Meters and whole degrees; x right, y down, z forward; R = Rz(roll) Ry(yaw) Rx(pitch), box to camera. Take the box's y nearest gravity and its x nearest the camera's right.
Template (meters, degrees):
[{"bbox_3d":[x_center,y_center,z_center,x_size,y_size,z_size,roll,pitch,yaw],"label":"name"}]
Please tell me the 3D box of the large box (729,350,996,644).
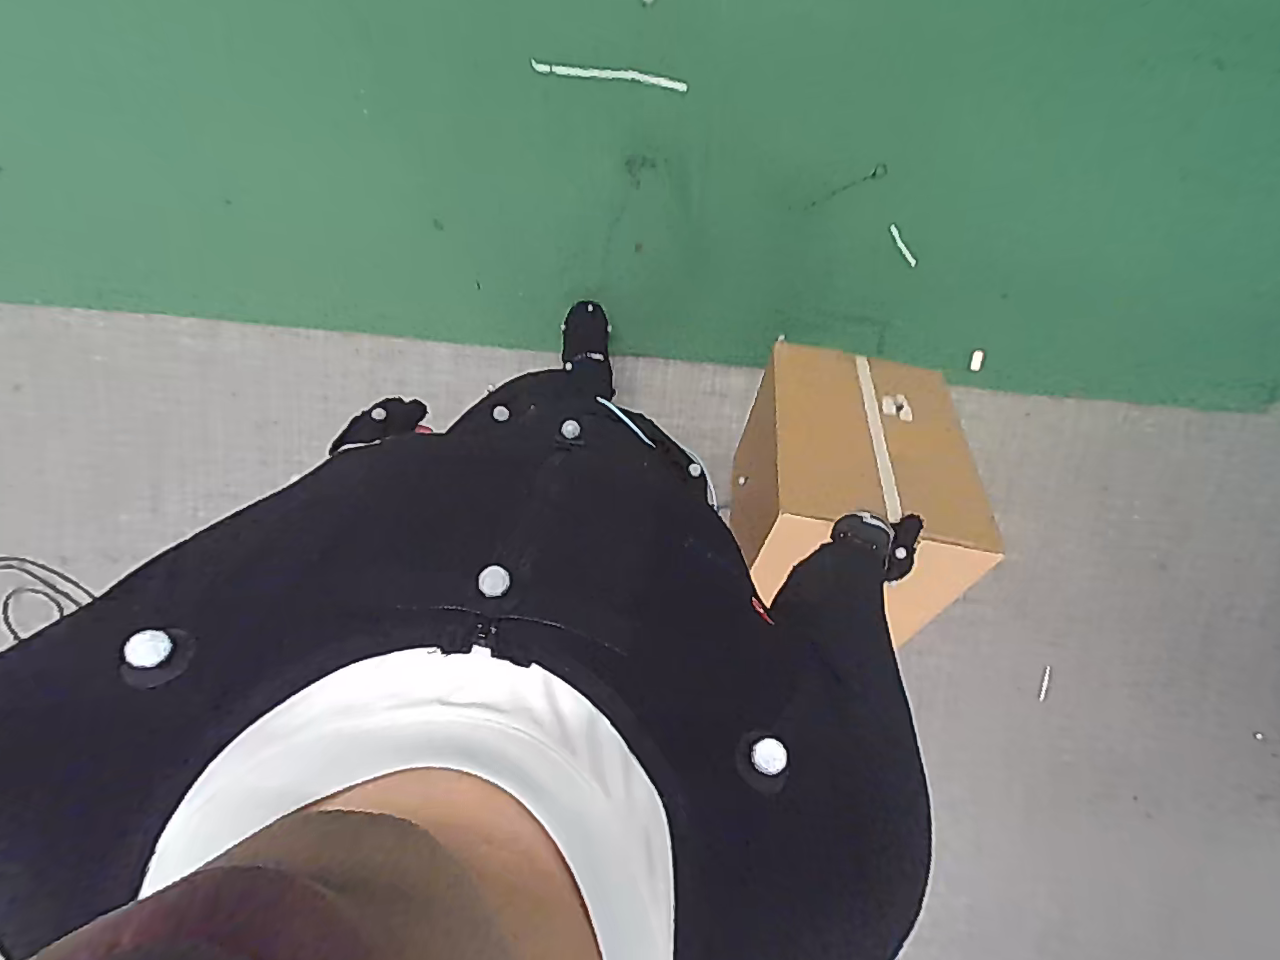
[{"bbox_3d":[0.348,0.029,0.981,0.320,0.408,0.320,12,137,-1],"label":"large box"}]
